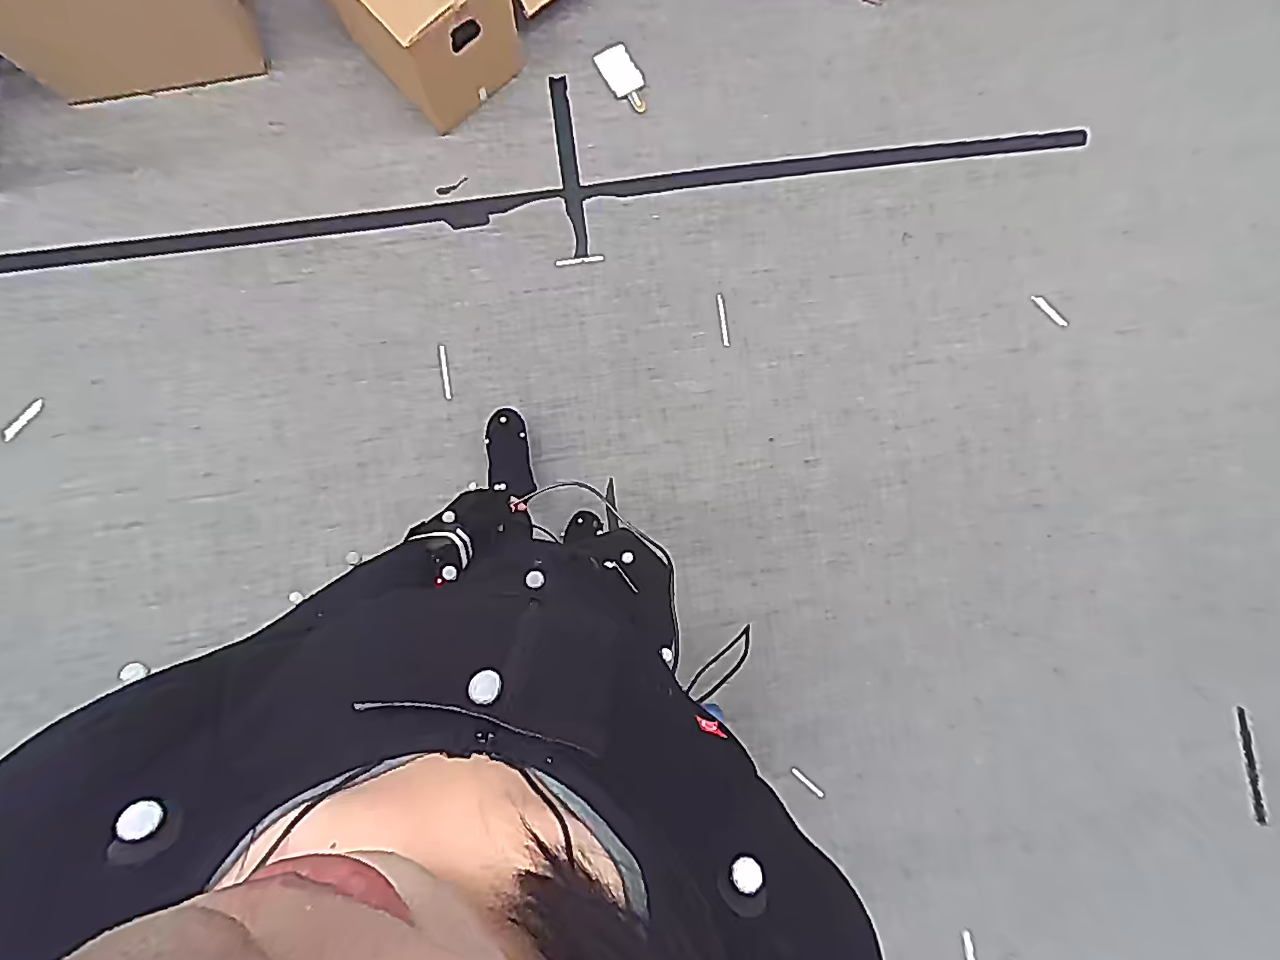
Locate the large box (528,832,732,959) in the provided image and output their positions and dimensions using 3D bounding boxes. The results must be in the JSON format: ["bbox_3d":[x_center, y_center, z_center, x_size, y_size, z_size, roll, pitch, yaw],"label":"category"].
[{"bbox_3d":[-0.007,1.054,1.180,0.408,0.320,0.320,-11,89,-4],"label":"large box"}]
